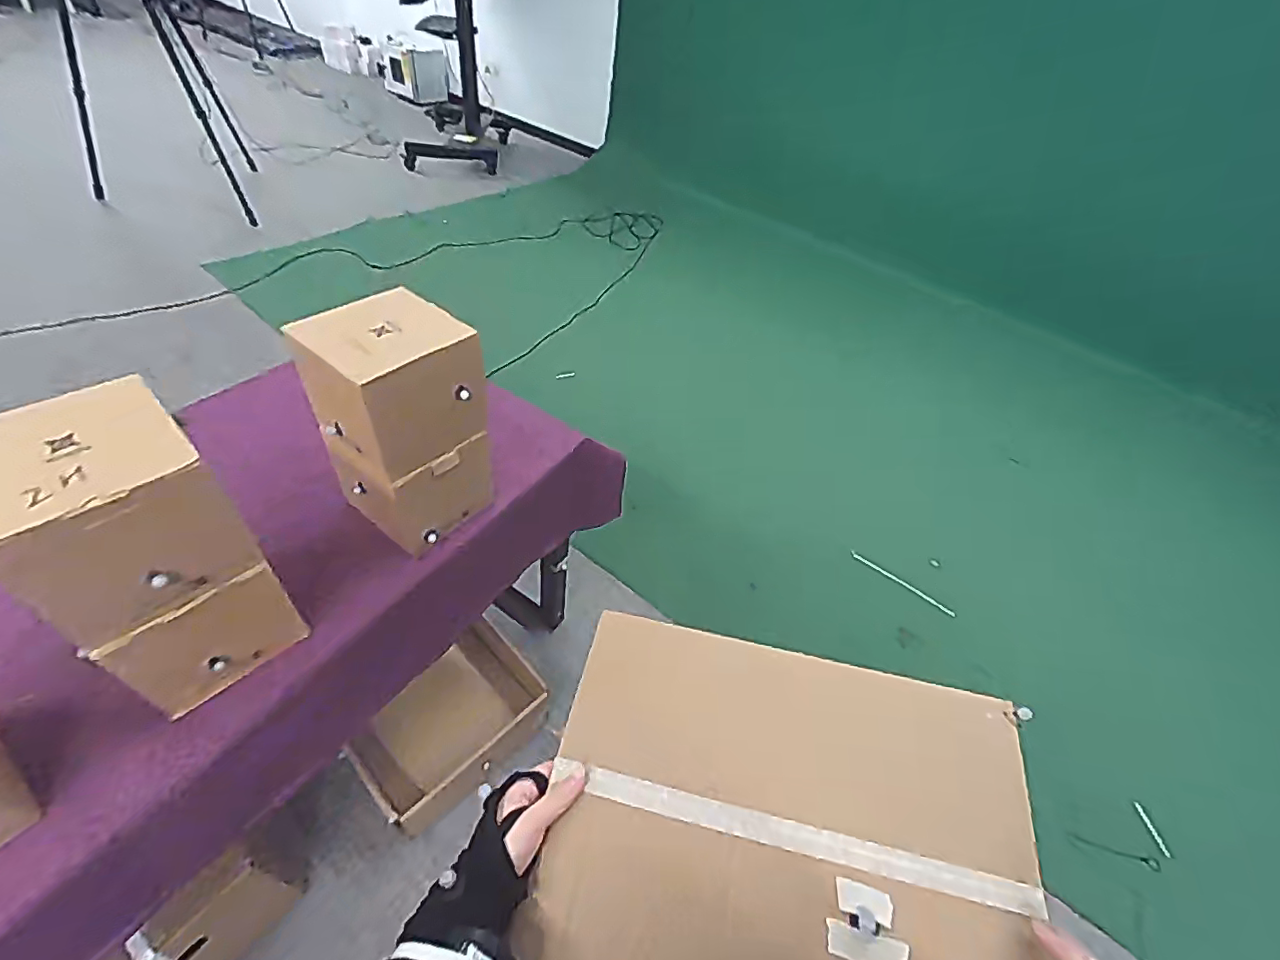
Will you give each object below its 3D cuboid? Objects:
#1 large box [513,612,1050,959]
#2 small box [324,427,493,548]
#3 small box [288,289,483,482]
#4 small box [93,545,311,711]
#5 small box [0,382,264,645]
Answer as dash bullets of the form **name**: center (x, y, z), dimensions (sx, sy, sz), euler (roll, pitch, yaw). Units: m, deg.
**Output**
- **large box**: center (0.127, 0.379, 0.580), dimensions (0.408, 0.320, 0.320), euler (10, 55, 9)
- **small box**: center (-0.356, -0.017, 0.865), dimensions (0.179, 0.176, 0.168), euler (32, 50, 21)
- **small box**: center (-0.335, -0.132, 0.750), dimensions (0.168, 0.176, 0.179), euler (33, 51, 21)
- **small box**: center (-0.554, 0.150, 0.676), dimensions (0.179, 0.176, 0.168), euler (37, 52, 22)
- **small box**: center (-0.538, 0.034, 0.560), dimensions (0.179, 0.176, 0.168), euler (38, 53, 23)
